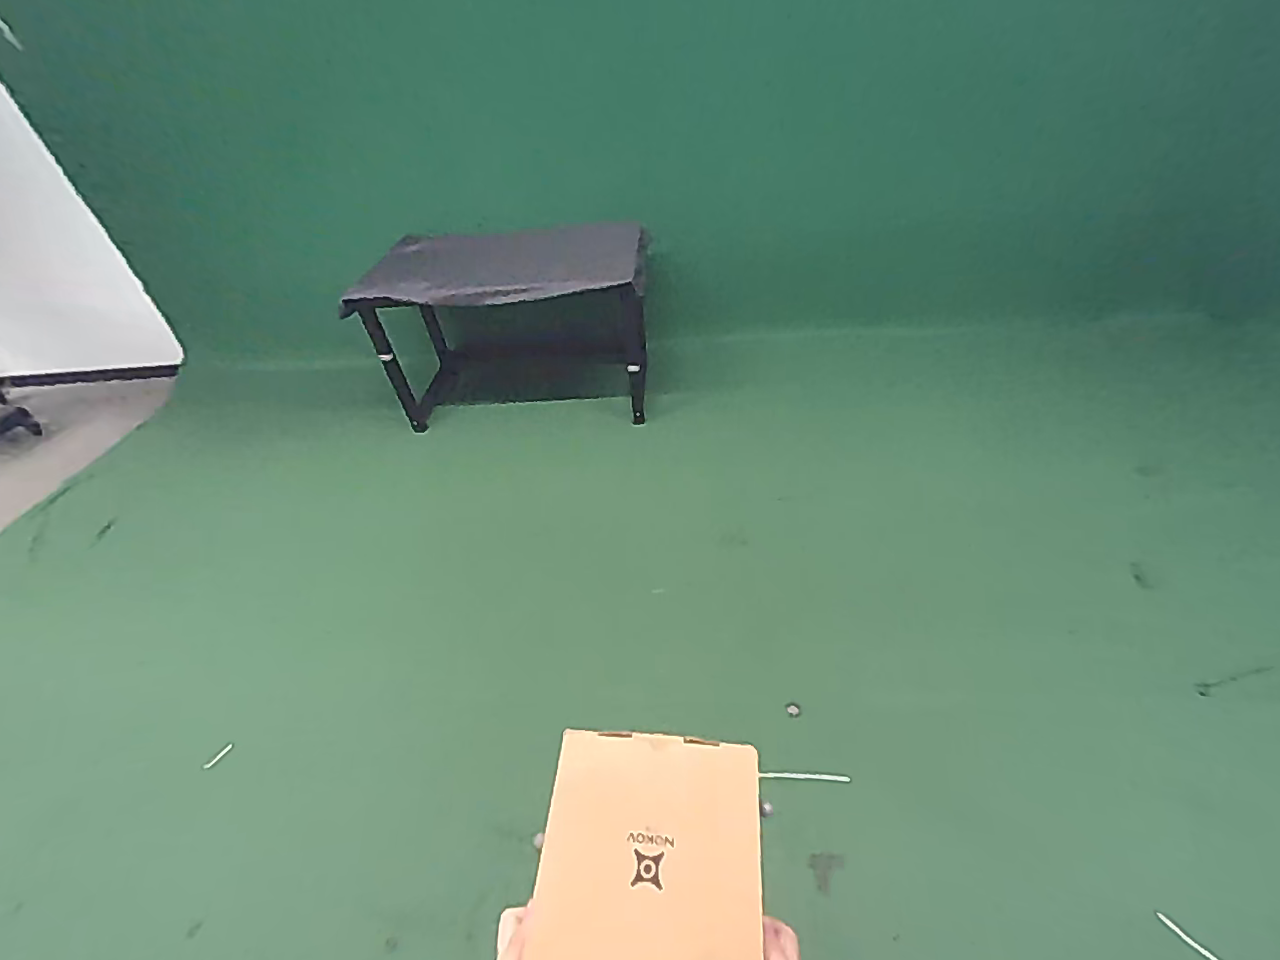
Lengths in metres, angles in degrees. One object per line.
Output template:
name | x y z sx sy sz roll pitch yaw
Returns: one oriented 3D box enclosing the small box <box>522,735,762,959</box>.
small box | 0.014 0.338 0.455 0.168 0.176 0.179 1 48 7
